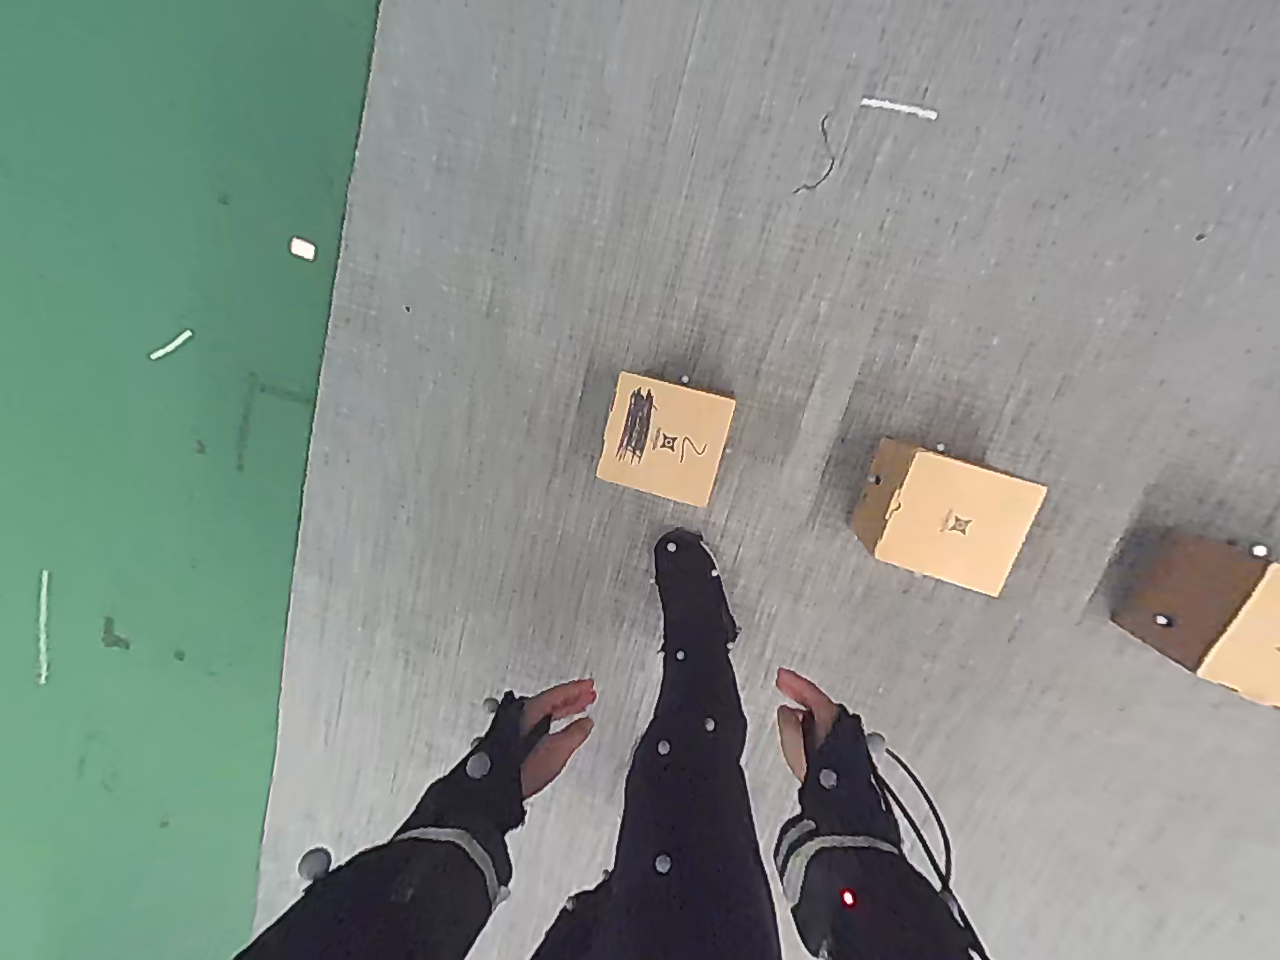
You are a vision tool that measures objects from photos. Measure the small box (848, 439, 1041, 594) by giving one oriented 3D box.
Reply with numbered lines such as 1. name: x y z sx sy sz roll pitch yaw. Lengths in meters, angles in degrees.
1. small box: 0.440 0.043 0.816 0.179 0.176 0.168 18 103 7

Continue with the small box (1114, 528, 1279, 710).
1. small box: 0.842 0.192 0.772 0.168 0.176 0.179 21 102 4
